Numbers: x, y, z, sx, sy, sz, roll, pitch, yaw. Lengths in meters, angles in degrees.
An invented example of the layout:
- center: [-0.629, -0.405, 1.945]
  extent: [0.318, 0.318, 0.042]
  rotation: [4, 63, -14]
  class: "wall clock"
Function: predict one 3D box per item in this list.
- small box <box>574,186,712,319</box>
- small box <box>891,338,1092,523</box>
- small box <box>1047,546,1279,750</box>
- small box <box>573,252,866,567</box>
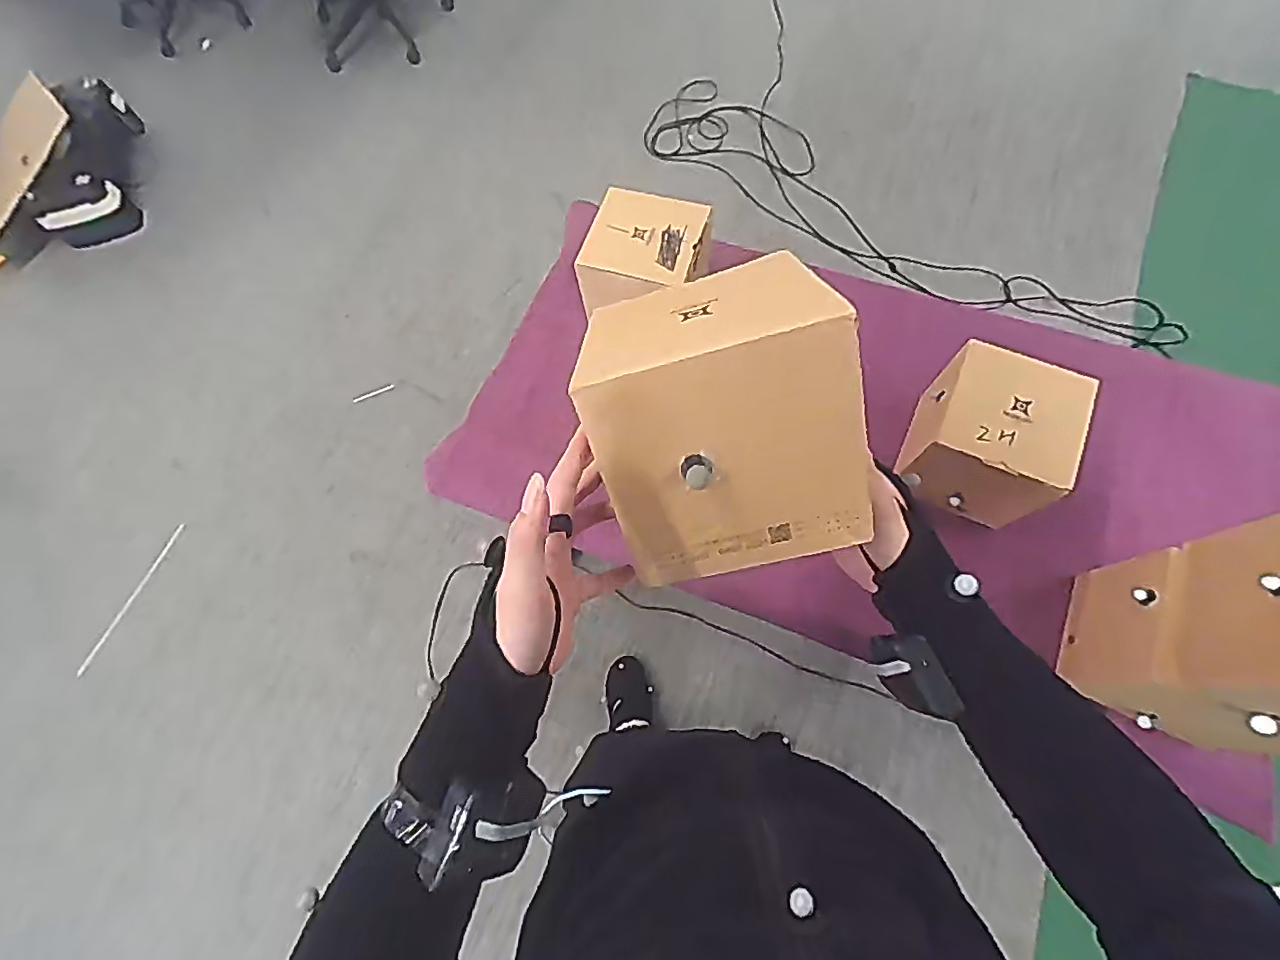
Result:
- center: [0.011, -0.353, 0.913]
  extent: [0.179, 0.176, 0.168]
  rotation: [17, 72, 10]
  class: "small box"
- center: [0.489, -0.064, 0.776]
  extent: [0.168, 0.176, 0.179]
  rotation: [24, 74, 13]
  class: "small box"
- center: [0.659, 0.205, 0.665]
  extent: [0.179, 0.176, 0.168]
  rotation: [24, 72, 12]
  class: "small box"
- center: [0.061, -0.051, 0.415]
  extent: [0.168, 0.176, 0.179]
  rotation: [-13, 30, 9]
  class: "small box"
